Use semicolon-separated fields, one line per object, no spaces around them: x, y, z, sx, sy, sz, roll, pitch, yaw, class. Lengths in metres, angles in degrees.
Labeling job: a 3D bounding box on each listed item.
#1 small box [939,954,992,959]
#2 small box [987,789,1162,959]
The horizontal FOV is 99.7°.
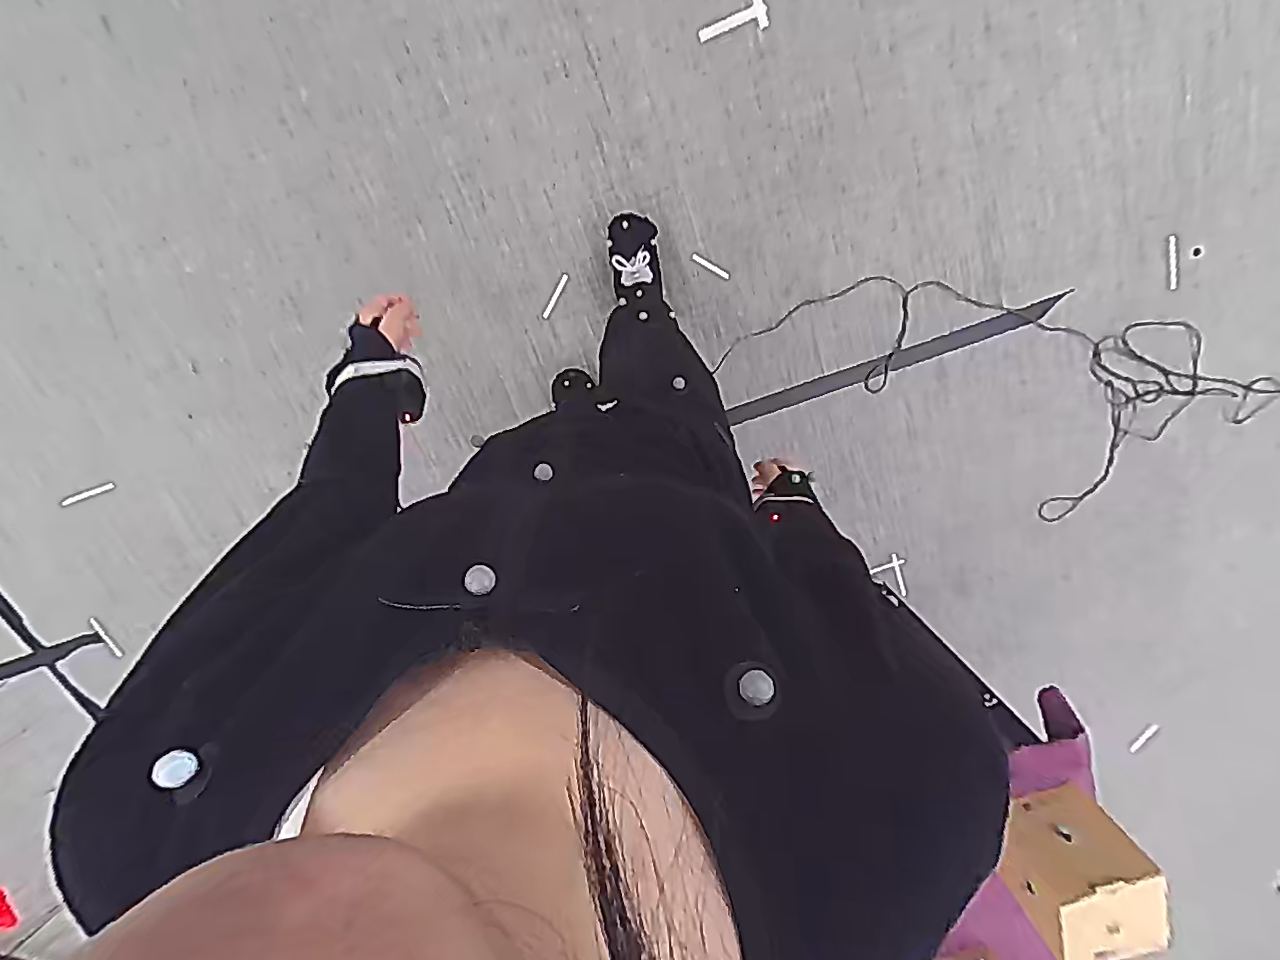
0.650;1.060;1.040;0.168;0.176;0.179;-17;107;2;small box
0.724;0.661;0.917;0.168;0.176;0.179;-18;108;3;small box
